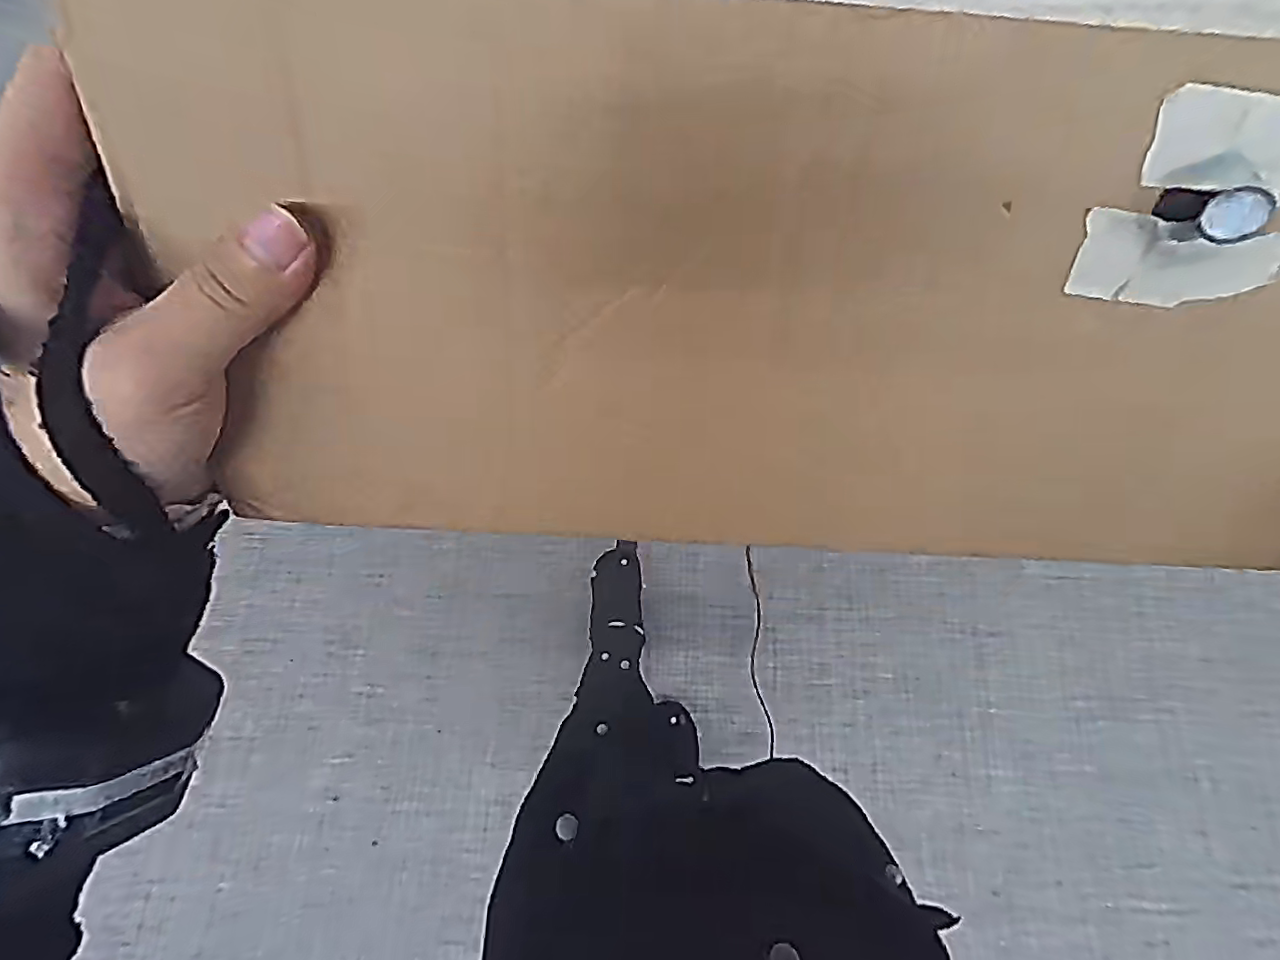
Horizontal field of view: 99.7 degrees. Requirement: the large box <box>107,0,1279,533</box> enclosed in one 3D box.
[{"bbox_3d":[0.070,-0.187,0.260,0.408,0.320,0.320,2,29,-3],"label":"large box"}]
